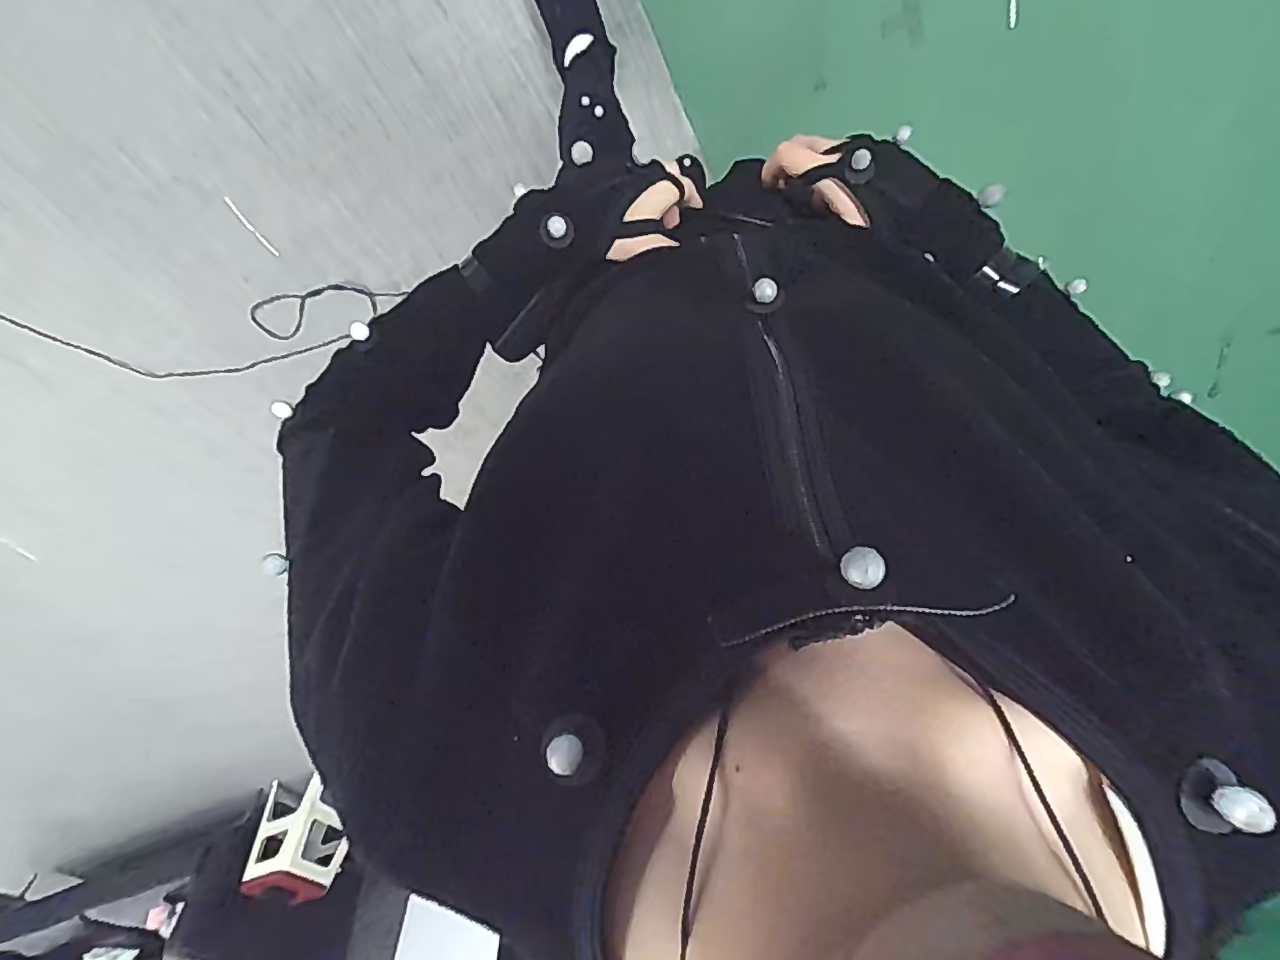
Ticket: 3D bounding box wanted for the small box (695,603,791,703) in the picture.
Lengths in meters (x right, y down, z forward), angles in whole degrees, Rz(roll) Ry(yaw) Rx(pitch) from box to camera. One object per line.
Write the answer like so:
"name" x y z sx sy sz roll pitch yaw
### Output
"small box" 0.231 0.404 1.195 0.179 0.176 0.168 -23 125 13
